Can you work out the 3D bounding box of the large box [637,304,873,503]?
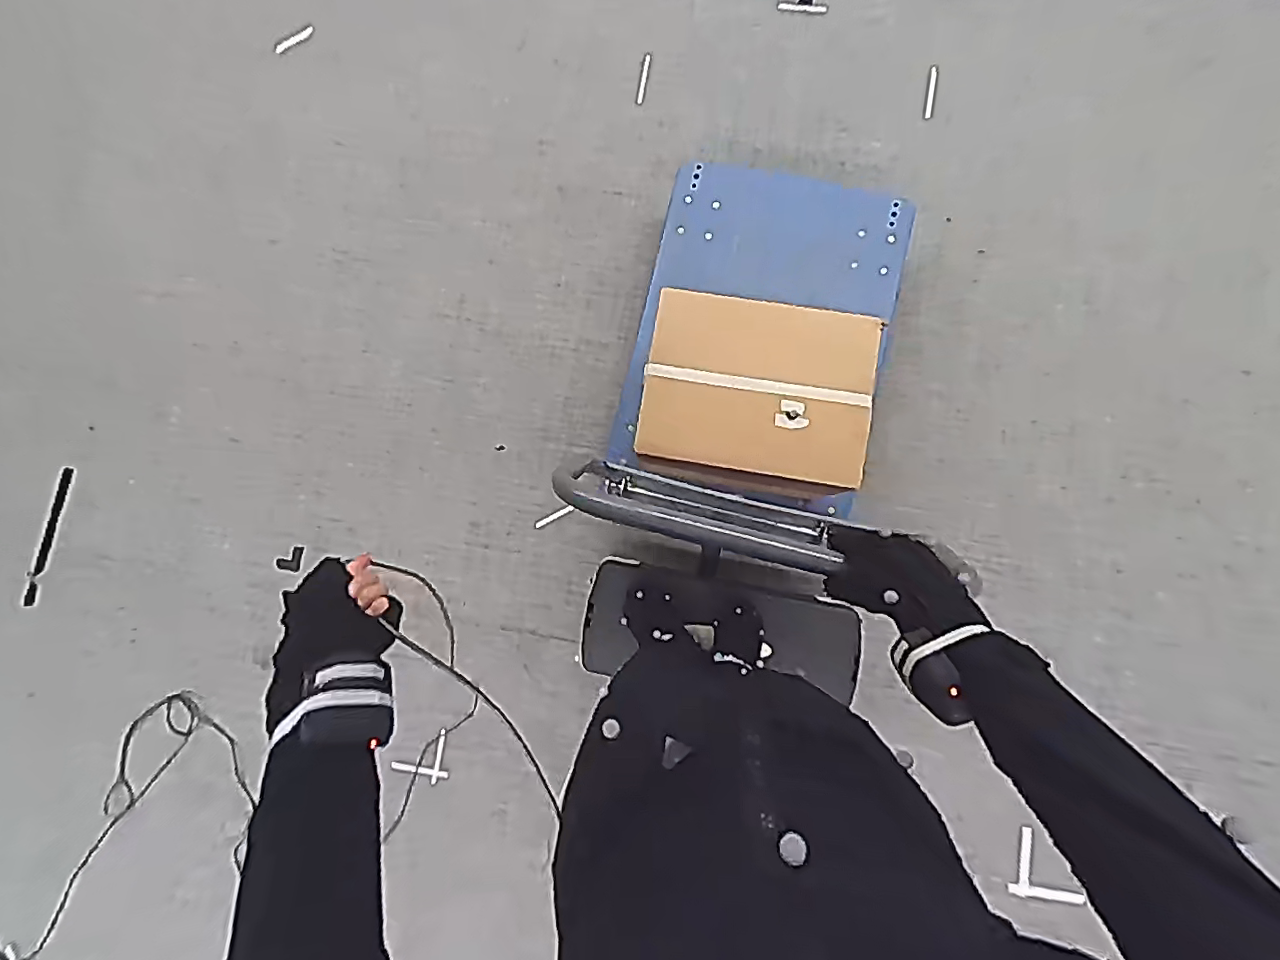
[{"bbox_3d":[0.216,-0.139,1.137,0.408,0.320,0.320,9,85,3],"label":"large box"}]
